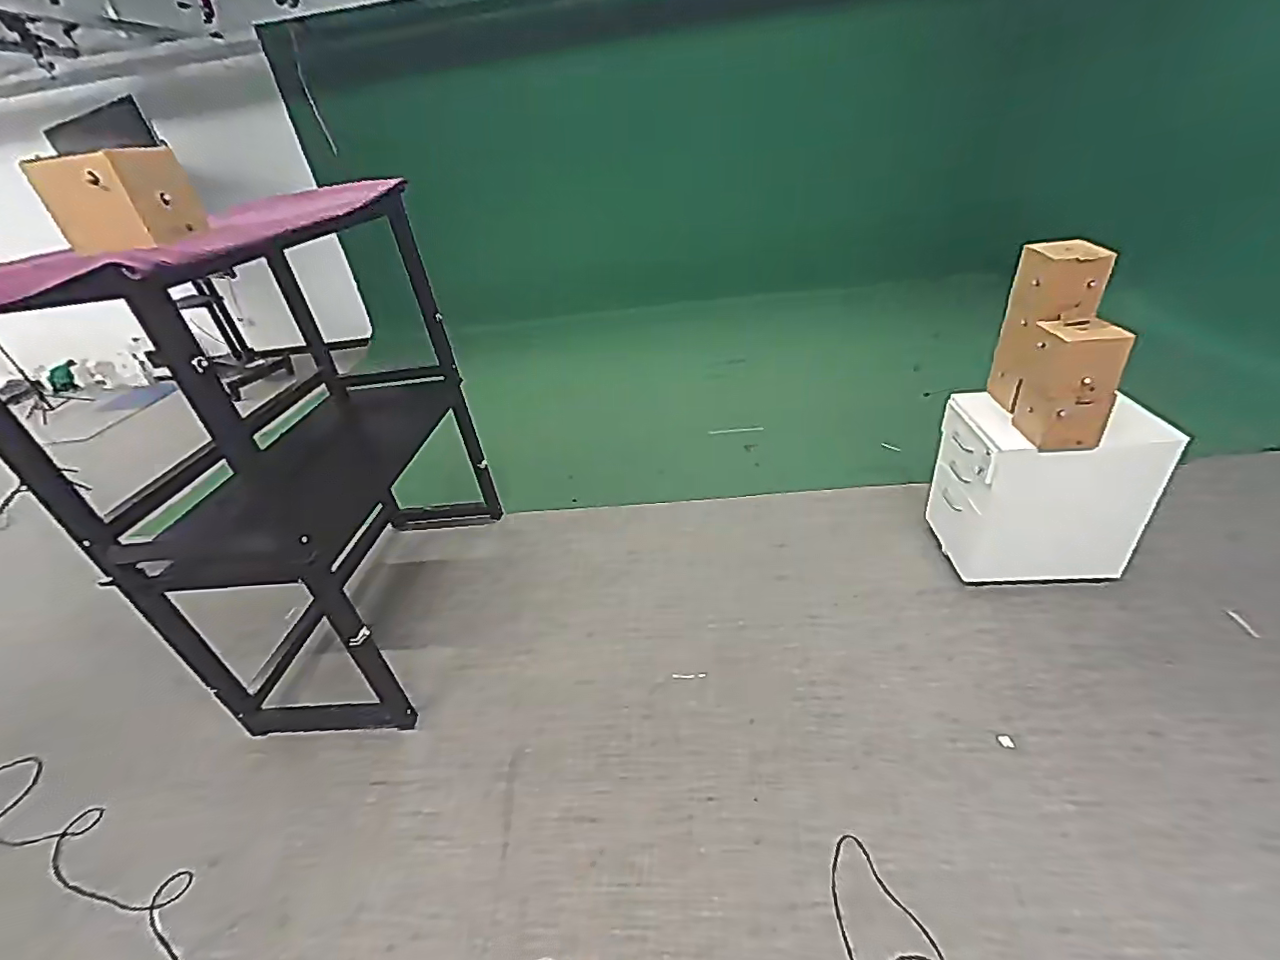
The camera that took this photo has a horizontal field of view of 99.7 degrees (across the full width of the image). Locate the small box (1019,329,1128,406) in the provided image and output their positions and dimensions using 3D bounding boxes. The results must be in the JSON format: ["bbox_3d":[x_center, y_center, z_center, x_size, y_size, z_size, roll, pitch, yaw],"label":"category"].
[{"bbox_3d":[1.233,-0.323,1.556,0.168,0.176,0.179,-3,32,7],"label":"small box"}]

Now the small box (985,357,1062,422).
[{"bbox_3d":[1.305,-0.311,1.830,0.168,0.176,0.179,-4,34,7],"label":"small box"}]

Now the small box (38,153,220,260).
[{"bbox_3d":[-1.022,-0.560,1.104,0.179,0.176,0.168,-5,31,5],"label":"small box"}]

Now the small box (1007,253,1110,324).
[{"bbox_3d":[1.264,-0.579,1.649,0.168,0.176,0.179,-2,34,6],"label":"small box"}]

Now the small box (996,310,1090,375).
[{"bbox_3d":[1.284,-0.446,1.740,0.168,0.176,0.179,-2,35,8],"label":"small box"}]
